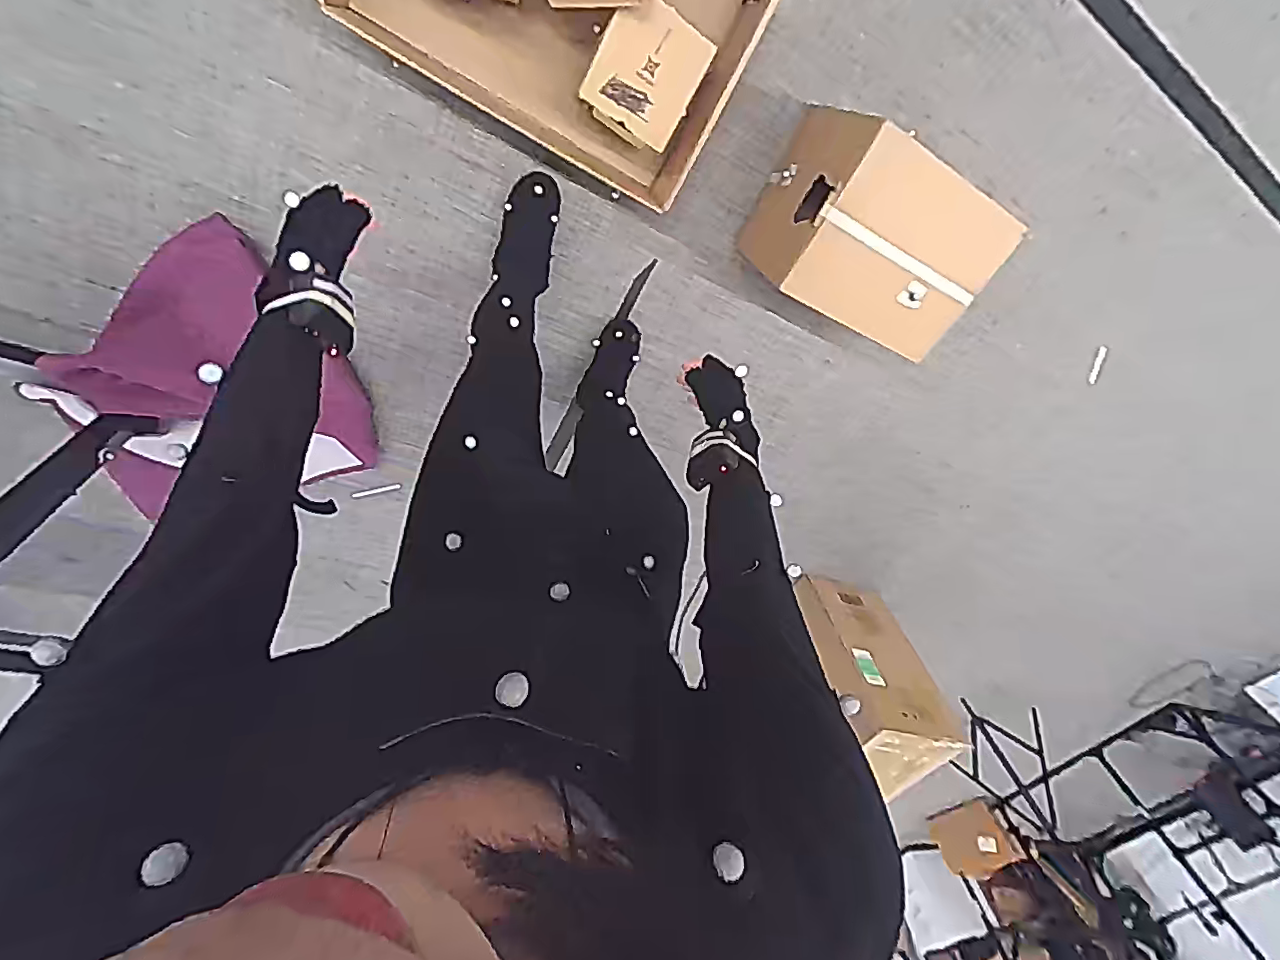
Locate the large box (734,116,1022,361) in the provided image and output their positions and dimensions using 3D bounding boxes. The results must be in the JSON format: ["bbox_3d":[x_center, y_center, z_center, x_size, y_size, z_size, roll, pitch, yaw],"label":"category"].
[{"bbox_3d":[0.479,-0.517,1.165,0.408,0.320,0.320,17,123,-24],"label":"large box"}]
